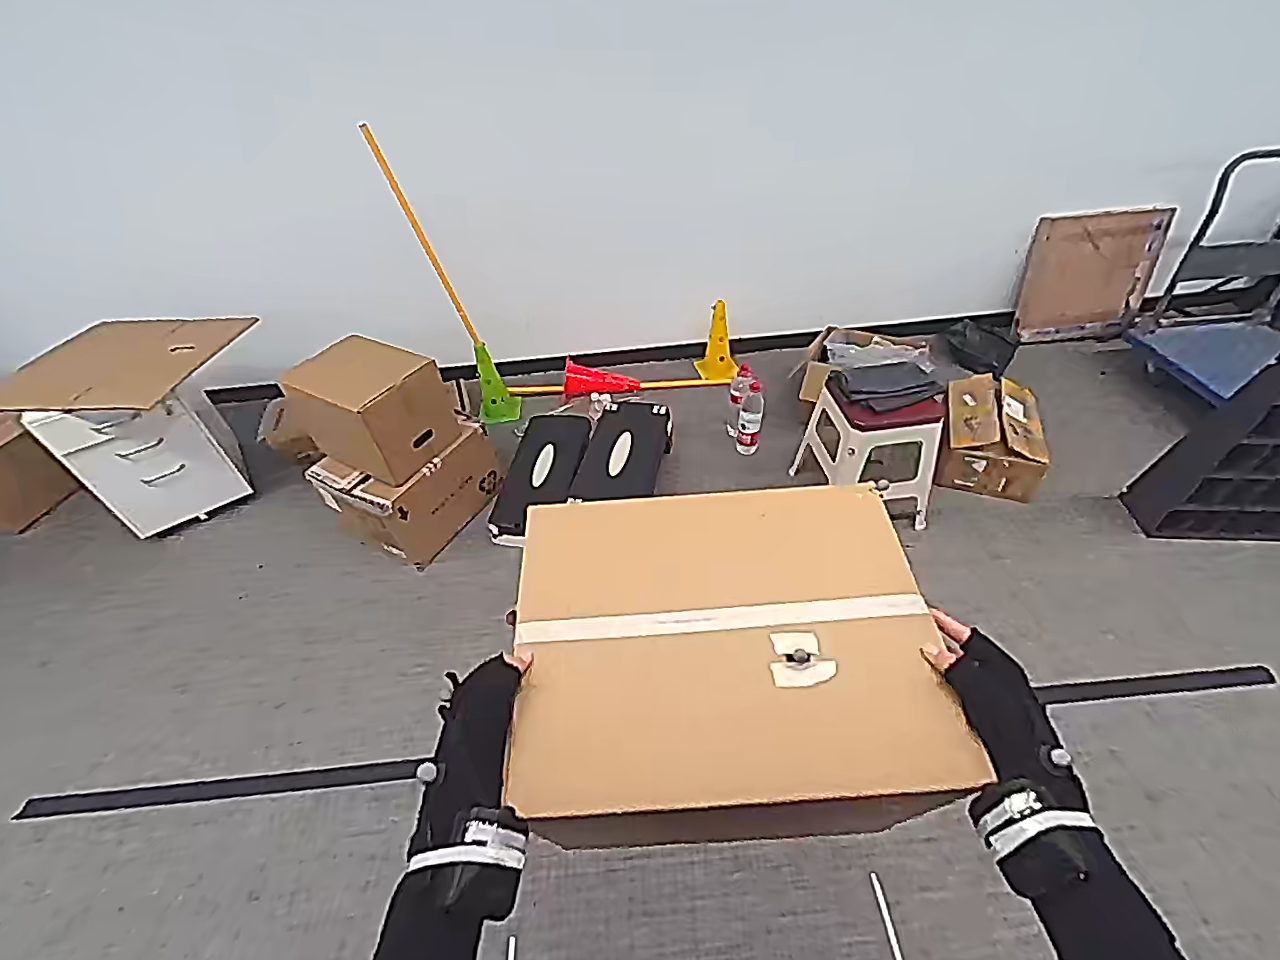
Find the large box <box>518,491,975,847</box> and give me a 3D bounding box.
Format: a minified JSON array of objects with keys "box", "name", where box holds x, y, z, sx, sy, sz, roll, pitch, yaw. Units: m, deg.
[{"box":[0.087,0.240,0.668,0.408,0.320,0.320,-4,52,0],"name":"large box"}]
